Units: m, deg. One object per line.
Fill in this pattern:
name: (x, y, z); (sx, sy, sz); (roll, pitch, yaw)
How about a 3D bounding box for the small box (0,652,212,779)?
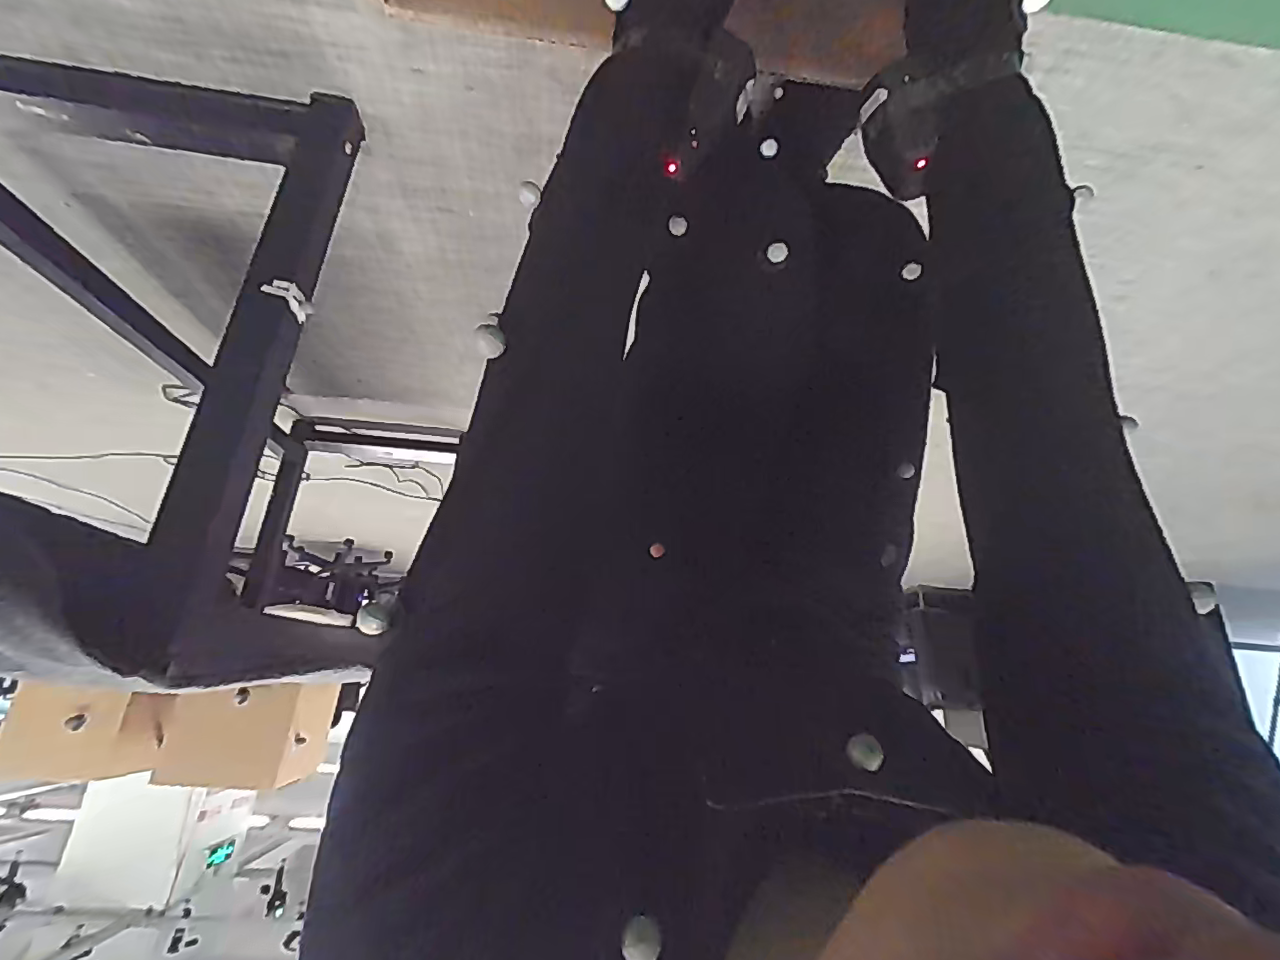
small box: (-0.837, 0.363, 0.857); (0.168, 0.176, 0.179); (4, 161, -3)
